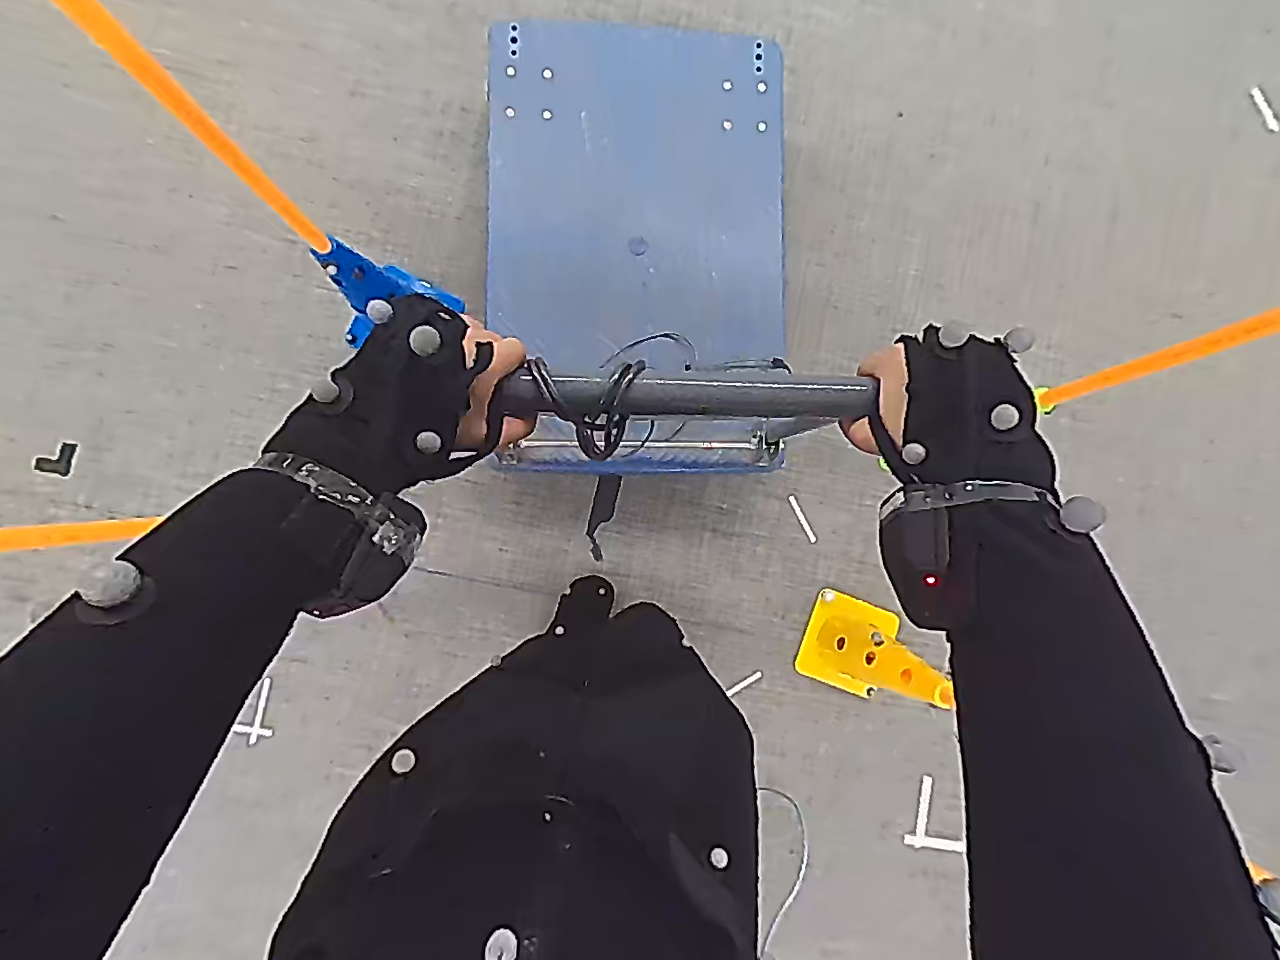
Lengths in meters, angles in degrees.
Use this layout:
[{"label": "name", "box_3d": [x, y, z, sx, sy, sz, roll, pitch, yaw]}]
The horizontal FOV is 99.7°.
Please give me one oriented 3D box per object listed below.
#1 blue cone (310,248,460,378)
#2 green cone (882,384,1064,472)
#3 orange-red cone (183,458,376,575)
[{"label": "blue cone", "box_3d": [-0.496, -0.341, 1.011, 0.193, 0.380, 0.192, 28, 86, -2]}, {"label": "green cone", "box_3d": [0.665, -0.125, 1.069, 0.200, 0.368, 0.202, -1, 88, -4]}, {"label": "orange-red cone", "box_3d": [-0.666, 0.066, 0.964, 0.199, 0.360, 0.198, -32, 91, -6]}]
